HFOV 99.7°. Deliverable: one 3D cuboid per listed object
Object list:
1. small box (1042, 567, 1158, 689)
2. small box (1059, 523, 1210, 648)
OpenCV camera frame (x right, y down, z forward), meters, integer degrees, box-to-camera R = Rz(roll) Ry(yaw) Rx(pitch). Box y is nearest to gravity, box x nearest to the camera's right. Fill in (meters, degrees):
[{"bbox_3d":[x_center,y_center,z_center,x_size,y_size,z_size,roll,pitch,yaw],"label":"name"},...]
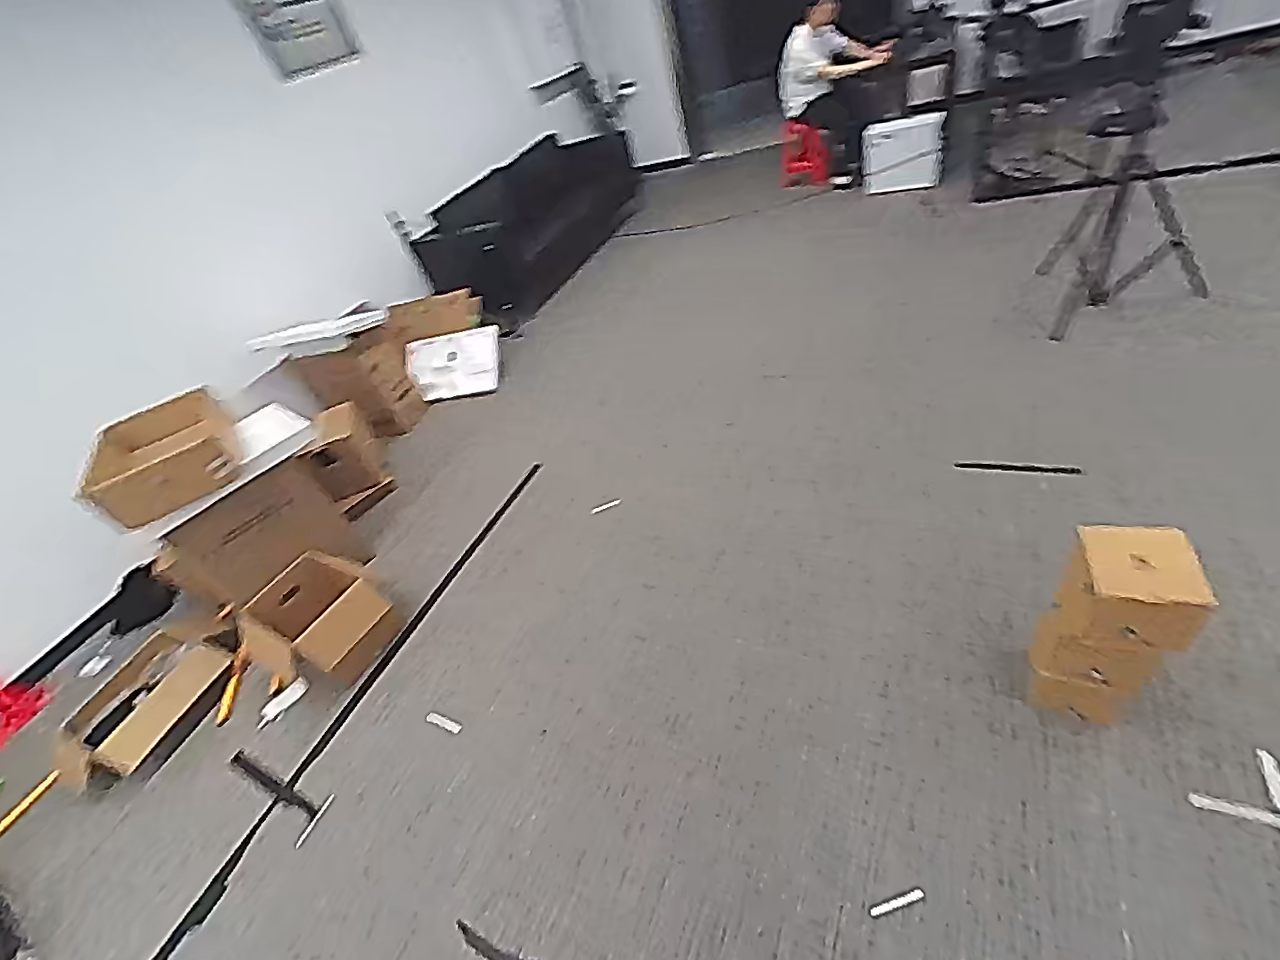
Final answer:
[{"bbox_3d":[1.004,0.324,1.192,0.168,0.176,0.179,8,49,33],"label":"small box"},{"bbox_3d":[0.969,0.208,1.083,0.168,0.176,0.179,0,44,24],"label":"small box"}]
